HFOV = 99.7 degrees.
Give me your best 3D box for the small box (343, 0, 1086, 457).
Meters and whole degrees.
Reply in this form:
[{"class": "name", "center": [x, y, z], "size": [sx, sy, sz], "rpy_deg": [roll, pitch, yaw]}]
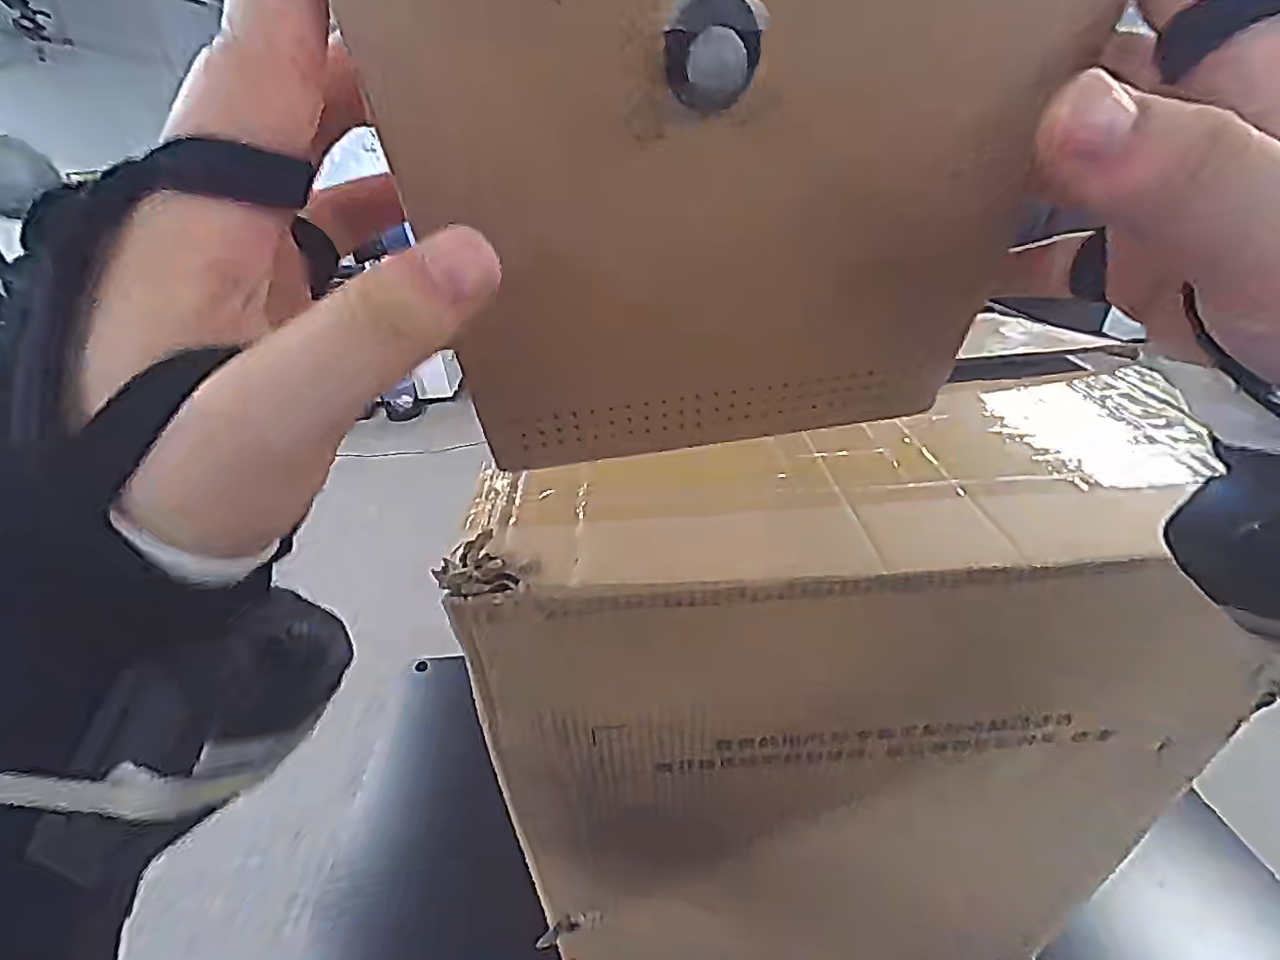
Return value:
[{"class": "small box", "center": [0.016, -0.125, 0.200], "size": [0.179, 0.176, 0.168], "rpy_deg": [-8, 50, -4]}]
